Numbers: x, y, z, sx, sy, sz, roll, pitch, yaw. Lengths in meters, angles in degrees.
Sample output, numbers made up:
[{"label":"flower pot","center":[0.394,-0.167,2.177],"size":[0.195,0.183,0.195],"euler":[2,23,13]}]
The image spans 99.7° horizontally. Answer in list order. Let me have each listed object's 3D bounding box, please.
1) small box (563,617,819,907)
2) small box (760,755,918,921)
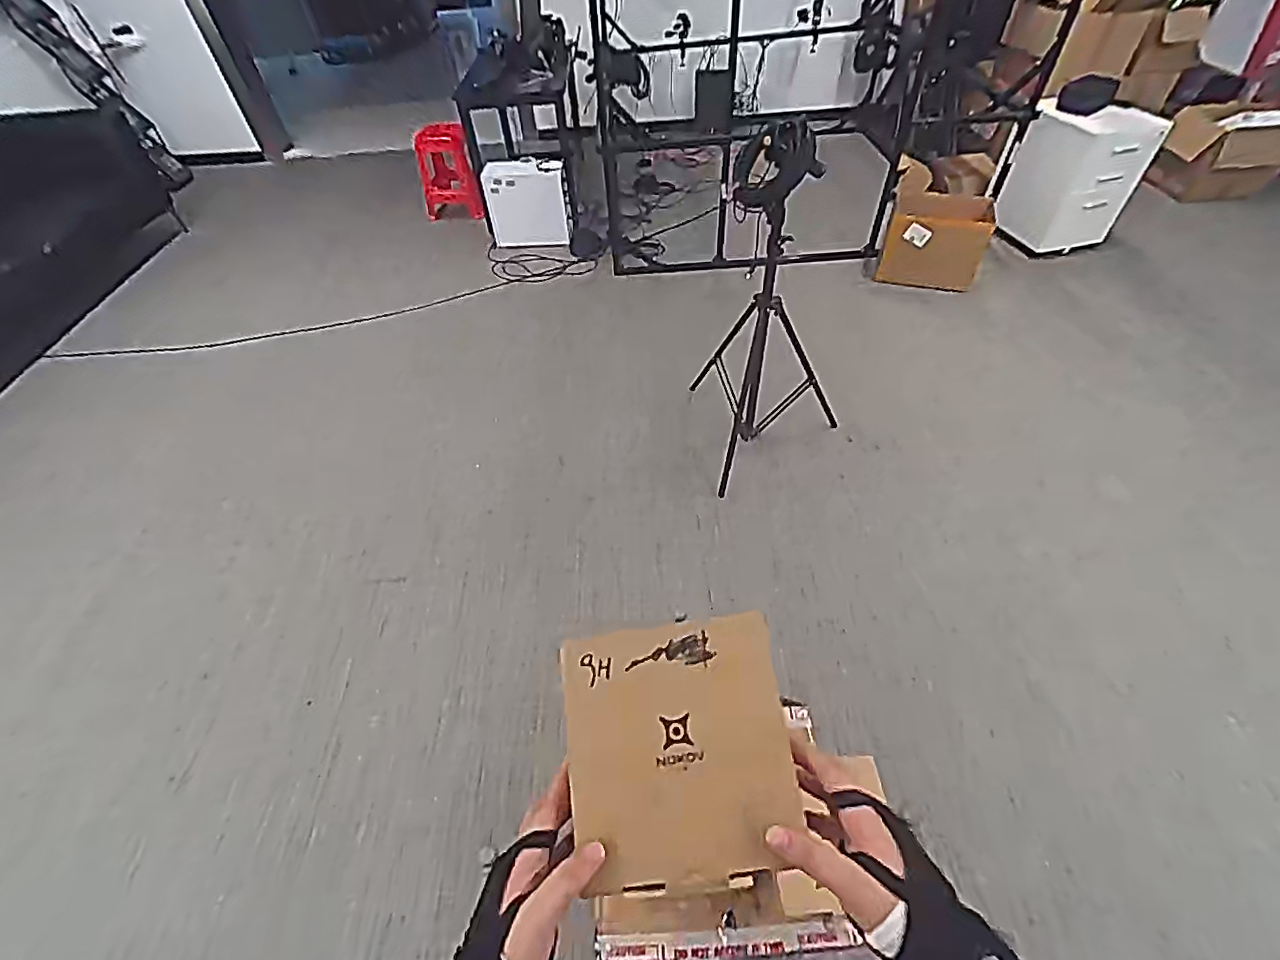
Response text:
[{"label":"small box","center":[0.037,0.223,0.469],"size":[0.168,0.176,0.179],"euler":[-9,71,1]},{"label":"small box","center":[0.256,0.512,0.772],"size":[0.168,0.176,0.179],"euler":[-3,50,-1]}]
